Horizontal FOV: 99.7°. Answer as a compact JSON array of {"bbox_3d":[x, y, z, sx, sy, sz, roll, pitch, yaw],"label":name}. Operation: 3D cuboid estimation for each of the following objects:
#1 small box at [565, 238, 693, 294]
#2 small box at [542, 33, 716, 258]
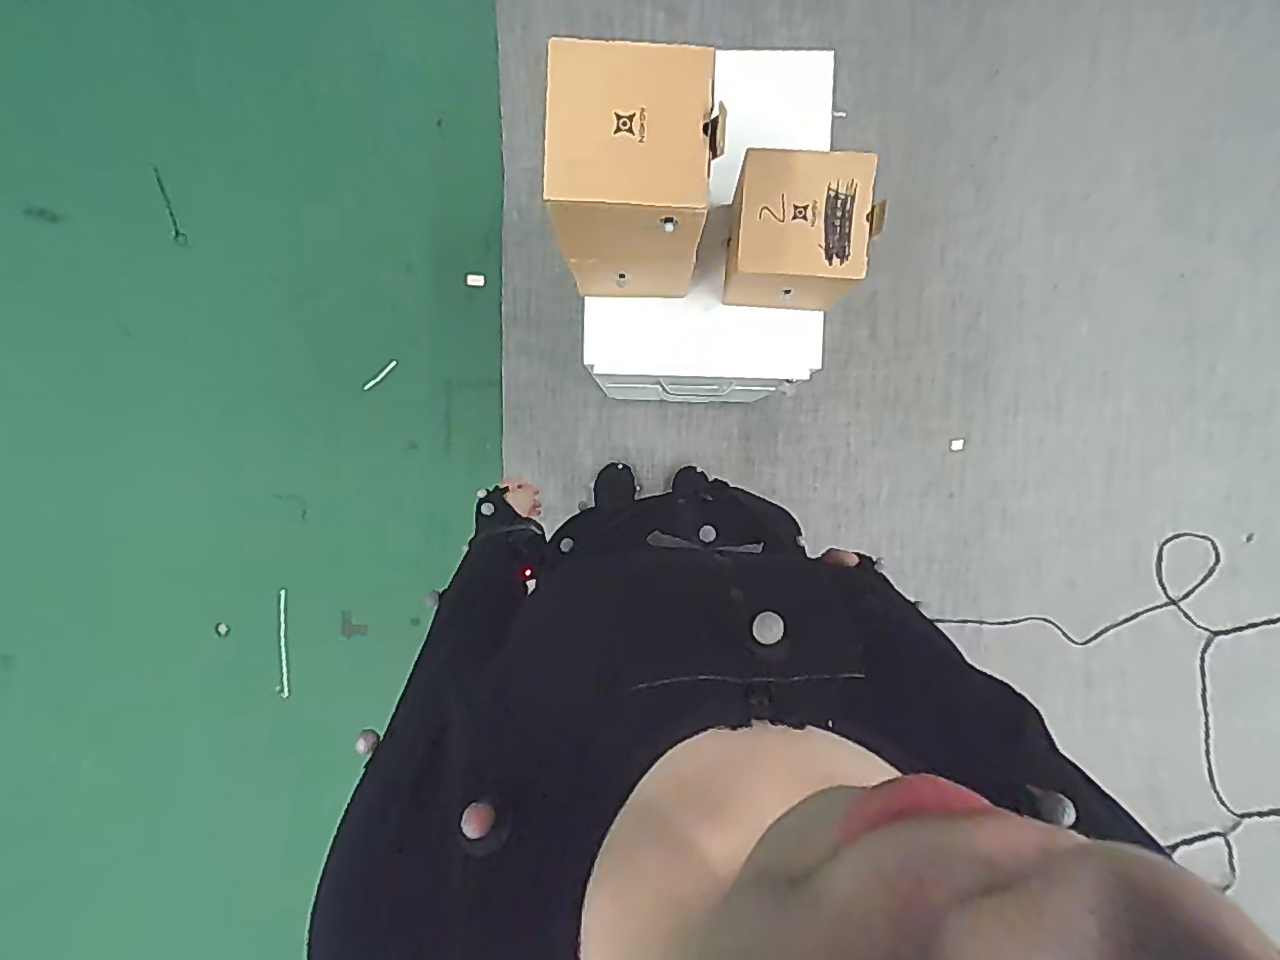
[{"bbox_3d":[-0.012,-0.384,0.805,0.179,0.176,0.168,1,93,0],"label":"small box"},{"bbox_3d":[-0.013,-0.379,0.642,0.179,0.176,0.168,3,92,-2],"label":"small box"}]
